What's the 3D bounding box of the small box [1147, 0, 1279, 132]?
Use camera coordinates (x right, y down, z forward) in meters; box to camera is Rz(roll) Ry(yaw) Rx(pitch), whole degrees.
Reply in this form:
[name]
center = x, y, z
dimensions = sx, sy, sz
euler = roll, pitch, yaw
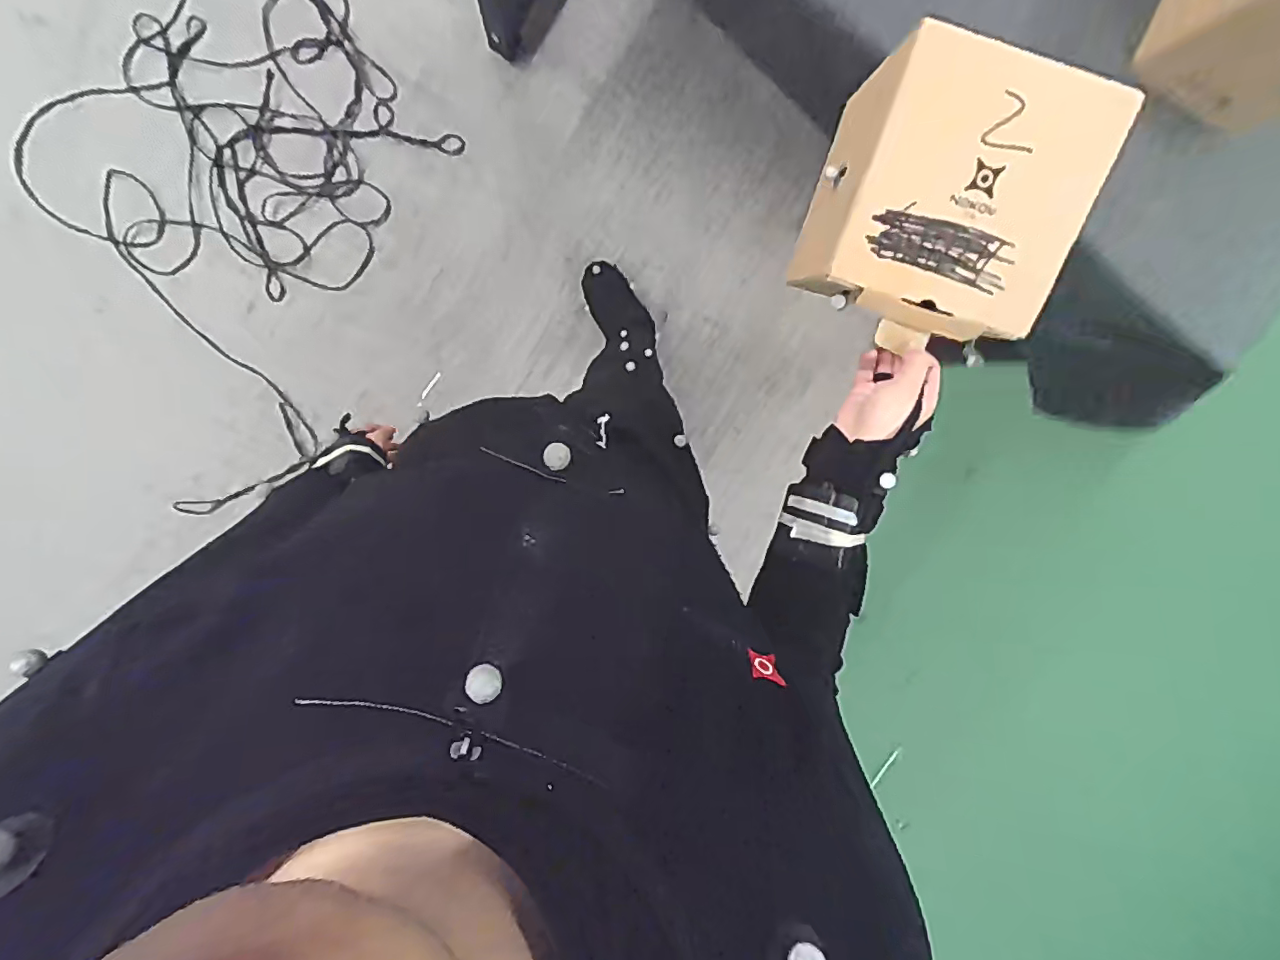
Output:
[small box]
center = 0.647, -0.477, 0.510
dimensions = 0.168, 0.176, 0.179
euler = 22, 97, -12
